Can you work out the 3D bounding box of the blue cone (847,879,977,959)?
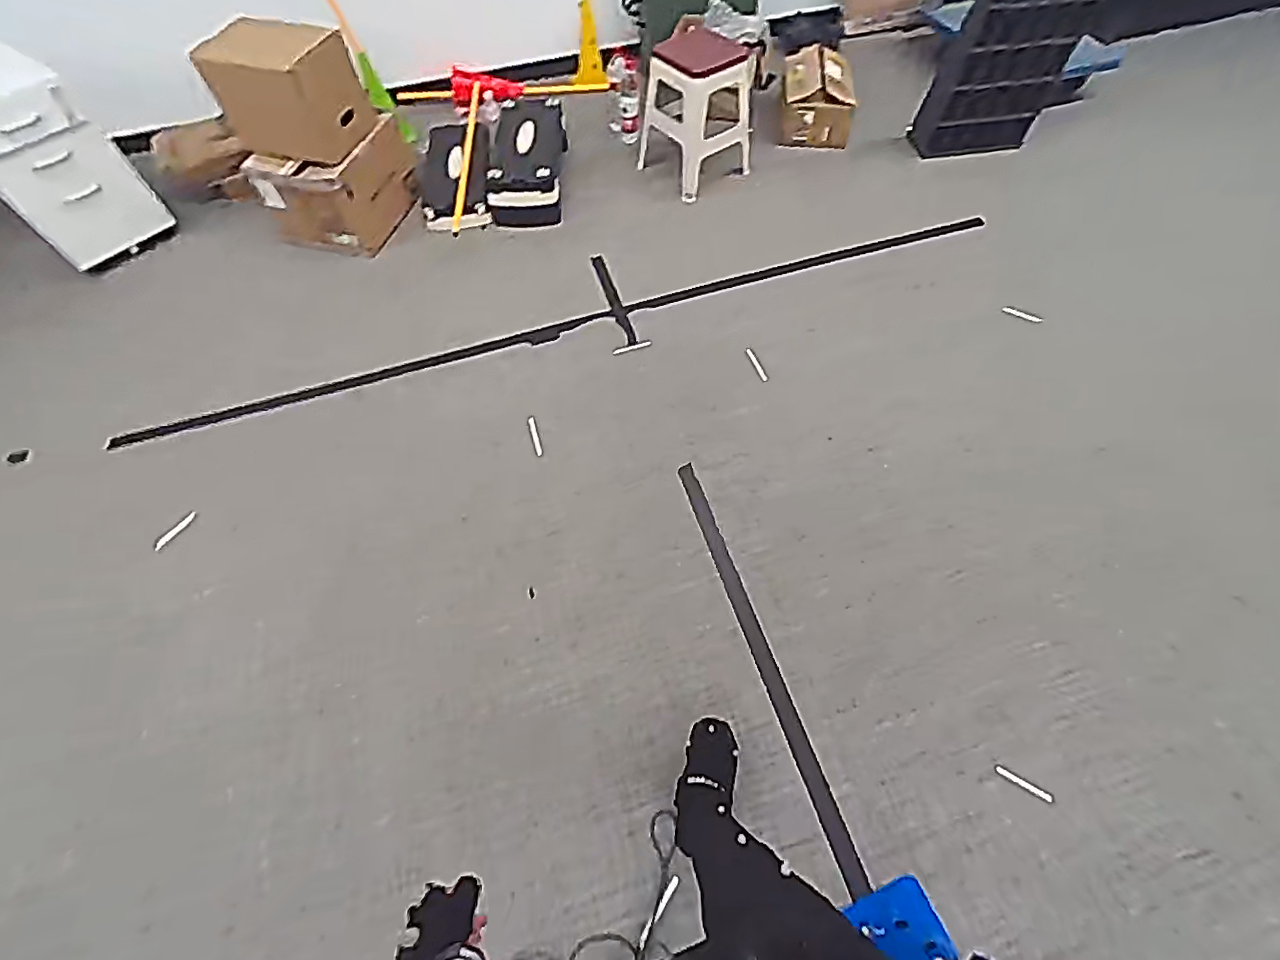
[{"bbox_3d":[0.526,0.847,0.932,0.192,0.380,0.193,-19,60,-11],"label":"blue cone"}]
